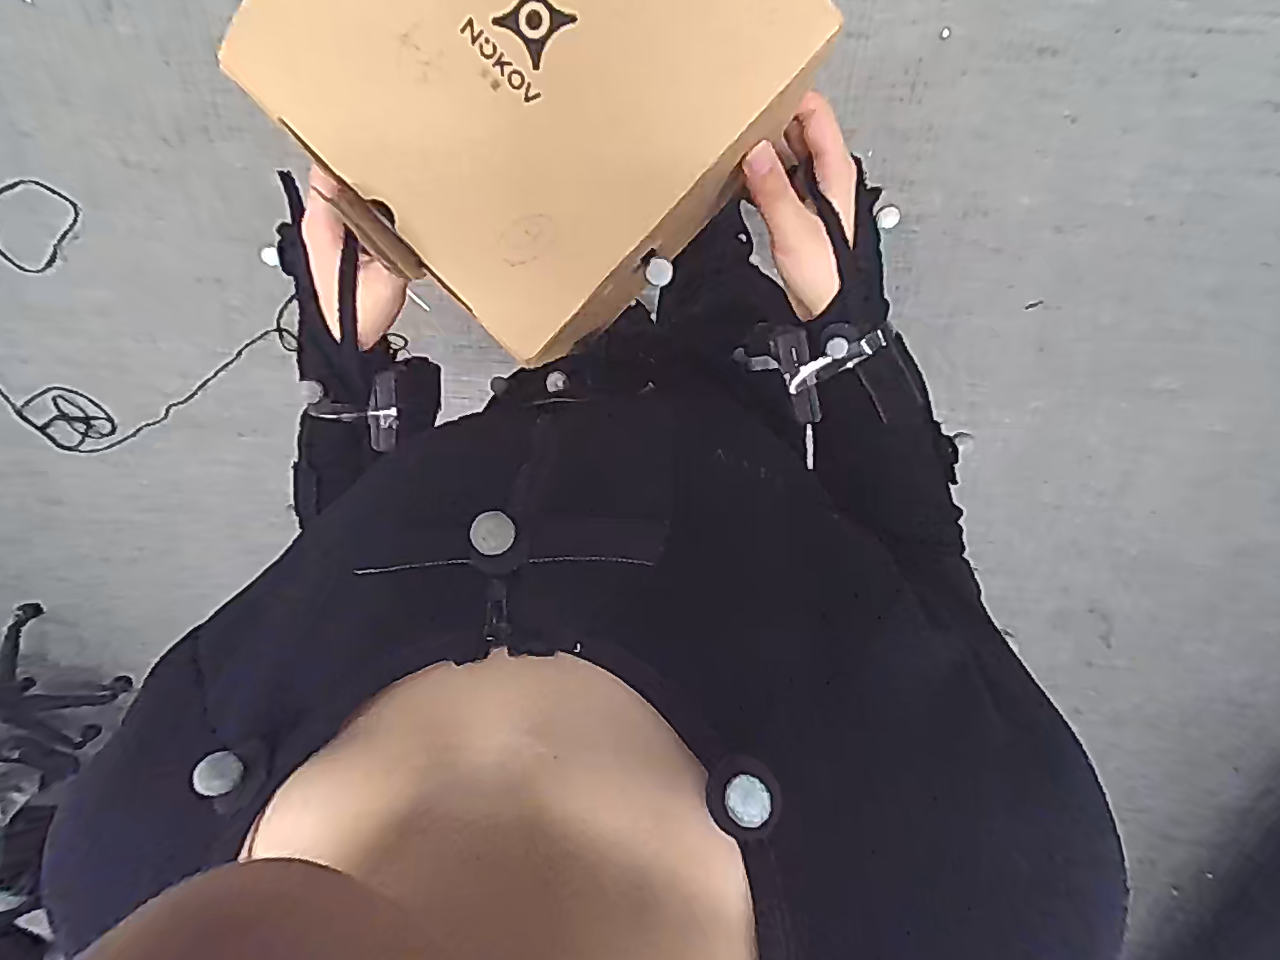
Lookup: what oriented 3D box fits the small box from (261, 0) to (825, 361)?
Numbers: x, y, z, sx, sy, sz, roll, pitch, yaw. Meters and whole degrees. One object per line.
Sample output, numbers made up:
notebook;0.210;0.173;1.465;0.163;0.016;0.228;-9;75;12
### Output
small box;-0.037;-0.186;0.292;0.179;0.176;0.168;-43;99;14
